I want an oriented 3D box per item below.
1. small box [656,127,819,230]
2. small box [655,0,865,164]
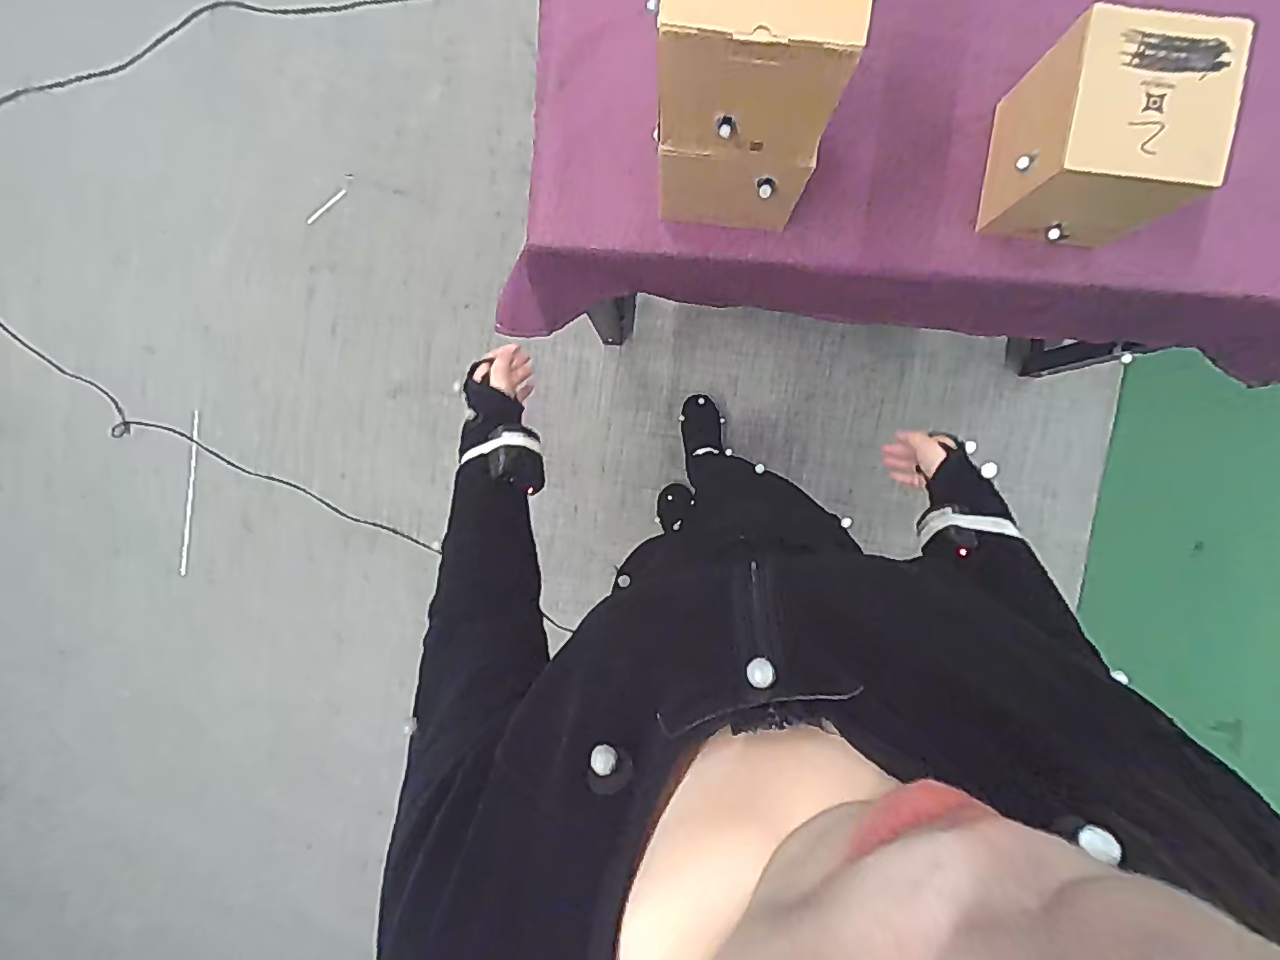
[{"bbox_3d":[0.118,-0.431,0.670,0.179,0.176,0.168,8,92,3],"label":"small box"},{"bbox_3d":[0.107,-0.436,0.507,0.168,0.176,0.179,8,93,3],"label":"small box"}]
